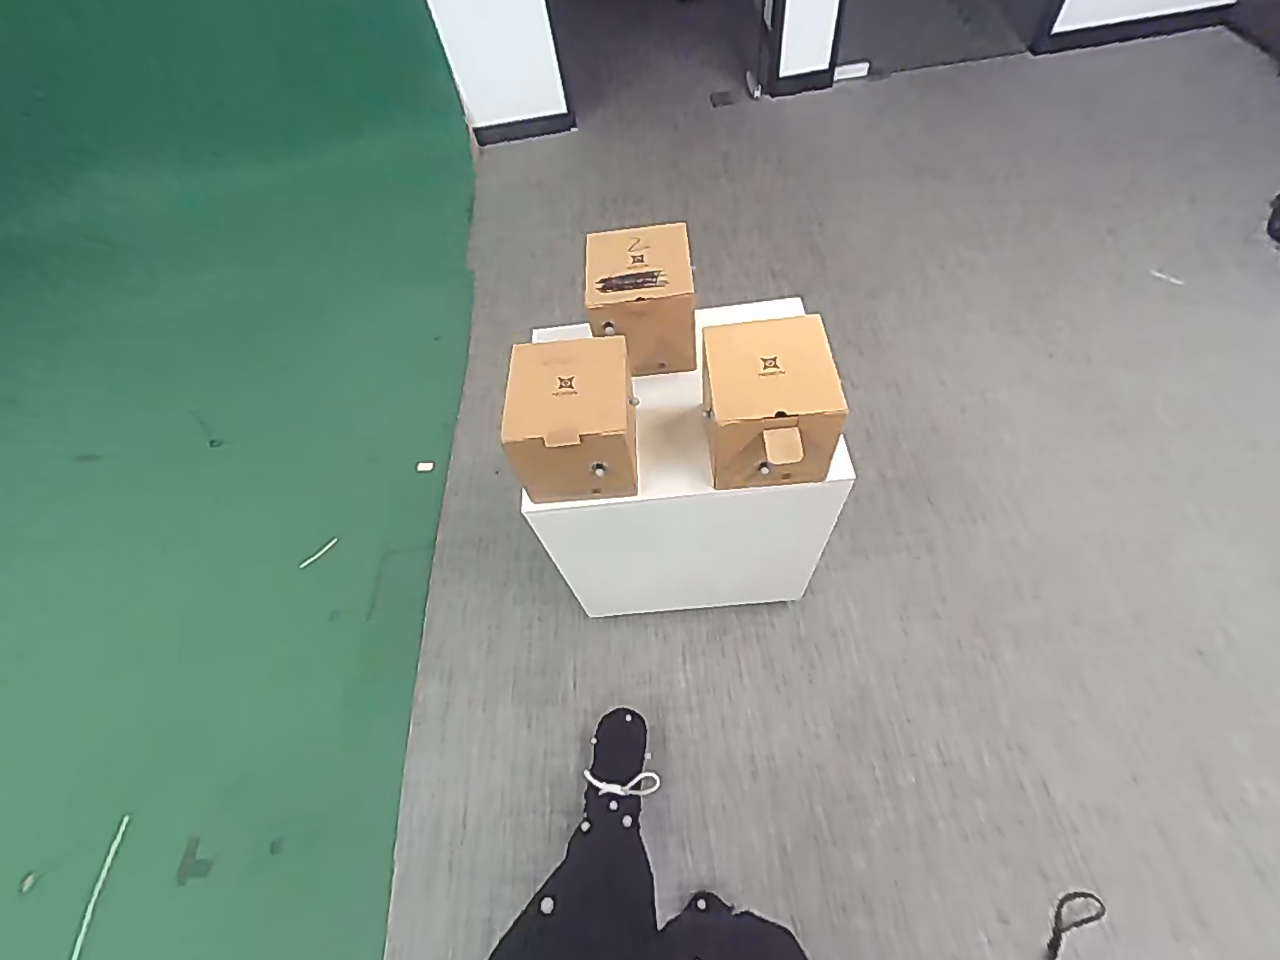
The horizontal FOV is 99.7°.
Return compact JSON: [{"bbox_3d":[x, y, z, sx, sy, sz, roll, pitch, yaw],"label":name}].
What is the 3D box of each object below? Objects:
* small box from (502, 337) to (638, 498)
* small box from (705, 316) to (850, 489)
[{"bbox_3d":[-0.092,-0.083,0.799,0.168,0.176,0.179,-4,57,3],"label":"small box"},{"bbox_3d":[0.182,-0.107,0.779,0.168,0.176,0.179,-5,58,4],"label":"small box"}]
